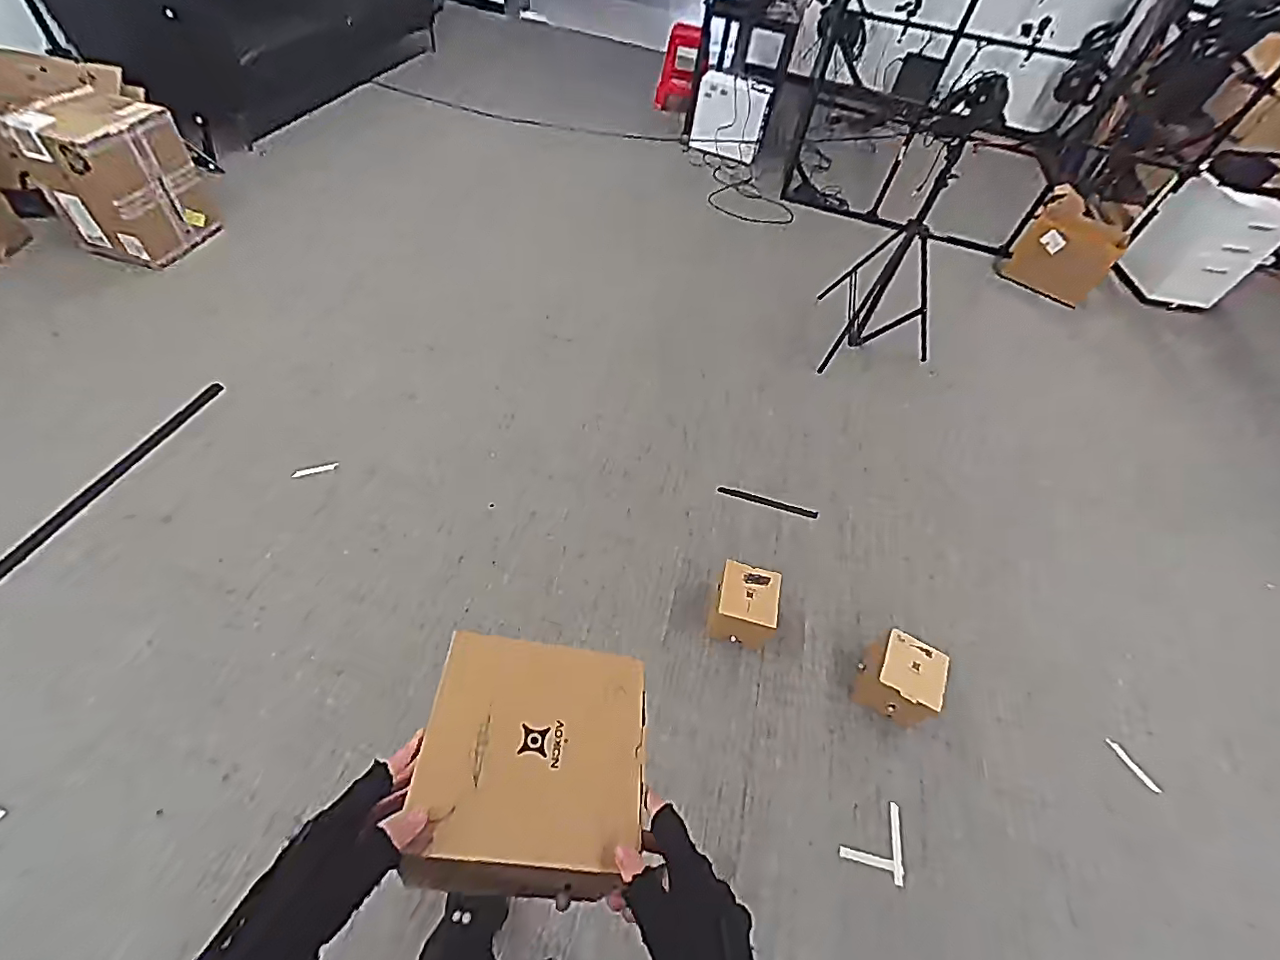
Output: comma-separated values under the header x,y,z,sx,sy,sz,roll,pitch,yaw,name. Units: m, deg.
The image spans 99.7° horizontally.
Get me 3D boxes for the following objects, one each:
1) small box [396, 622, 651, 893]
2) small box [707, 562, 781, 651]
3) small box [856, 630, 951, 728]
x,y,z,sx,sy,sz,roll,pitch,yaw,name
-0.096,0.251,0.480,0.179,0.176,0.168,11,44,-10,small box
0.301,0.370,1.576,0.168,0.176,0.179,15,52,3,small box
0.725,0.557,1.501,0.168,0.176,0.179,28,54,12,small box
